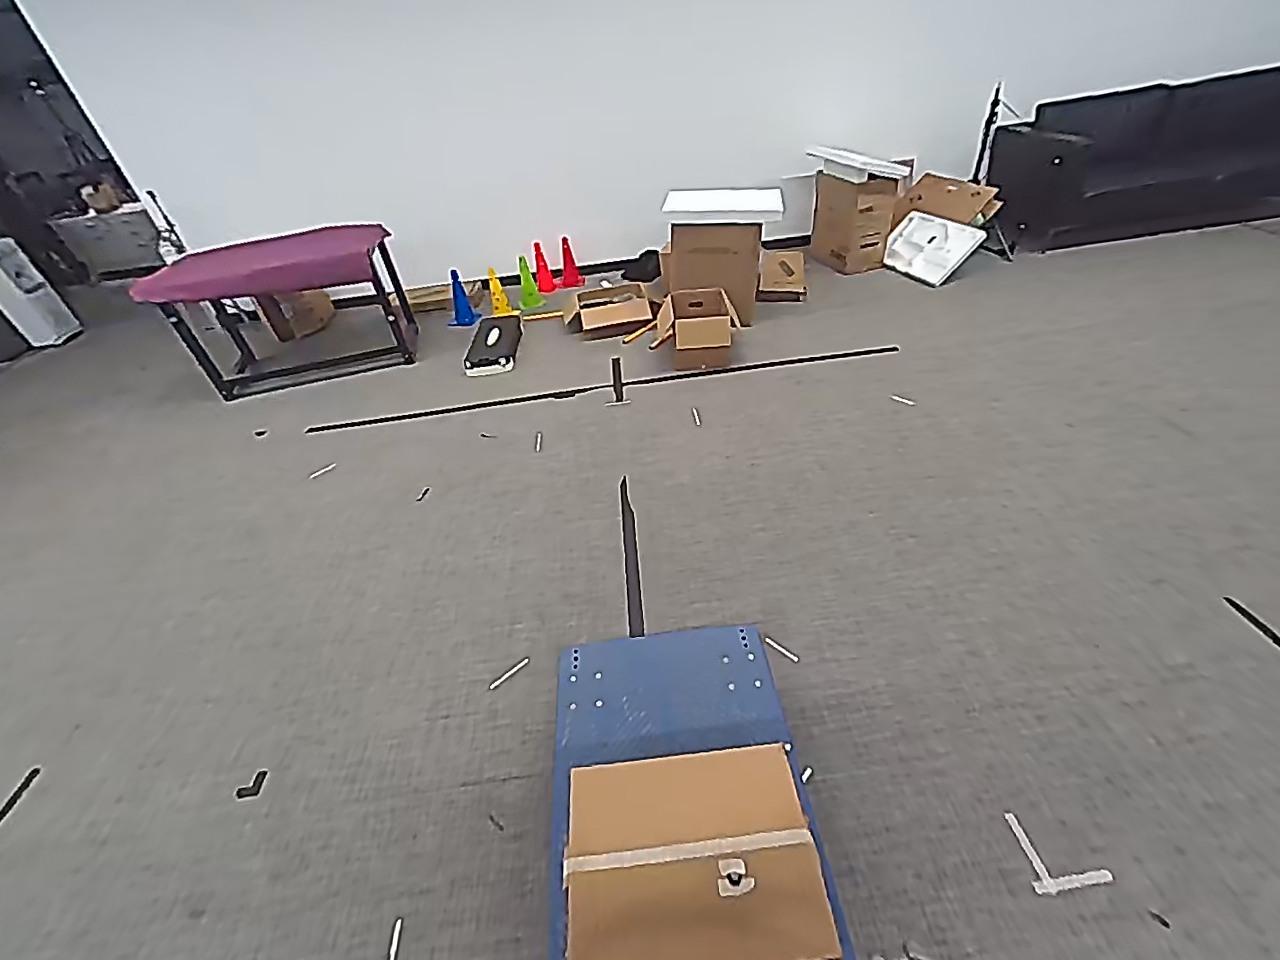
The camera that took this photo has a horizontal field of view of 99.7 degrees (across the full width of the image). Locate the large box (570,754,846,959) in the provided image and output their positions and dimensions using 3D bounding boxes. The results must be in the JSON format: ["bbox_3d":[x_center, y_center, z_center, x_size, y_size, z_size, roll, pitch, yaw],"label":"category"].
[{"bbox_3d":[0.095,0.738,0.963,0.408,0.320,0.320,-7,39,-1],"label":"large box"}]
